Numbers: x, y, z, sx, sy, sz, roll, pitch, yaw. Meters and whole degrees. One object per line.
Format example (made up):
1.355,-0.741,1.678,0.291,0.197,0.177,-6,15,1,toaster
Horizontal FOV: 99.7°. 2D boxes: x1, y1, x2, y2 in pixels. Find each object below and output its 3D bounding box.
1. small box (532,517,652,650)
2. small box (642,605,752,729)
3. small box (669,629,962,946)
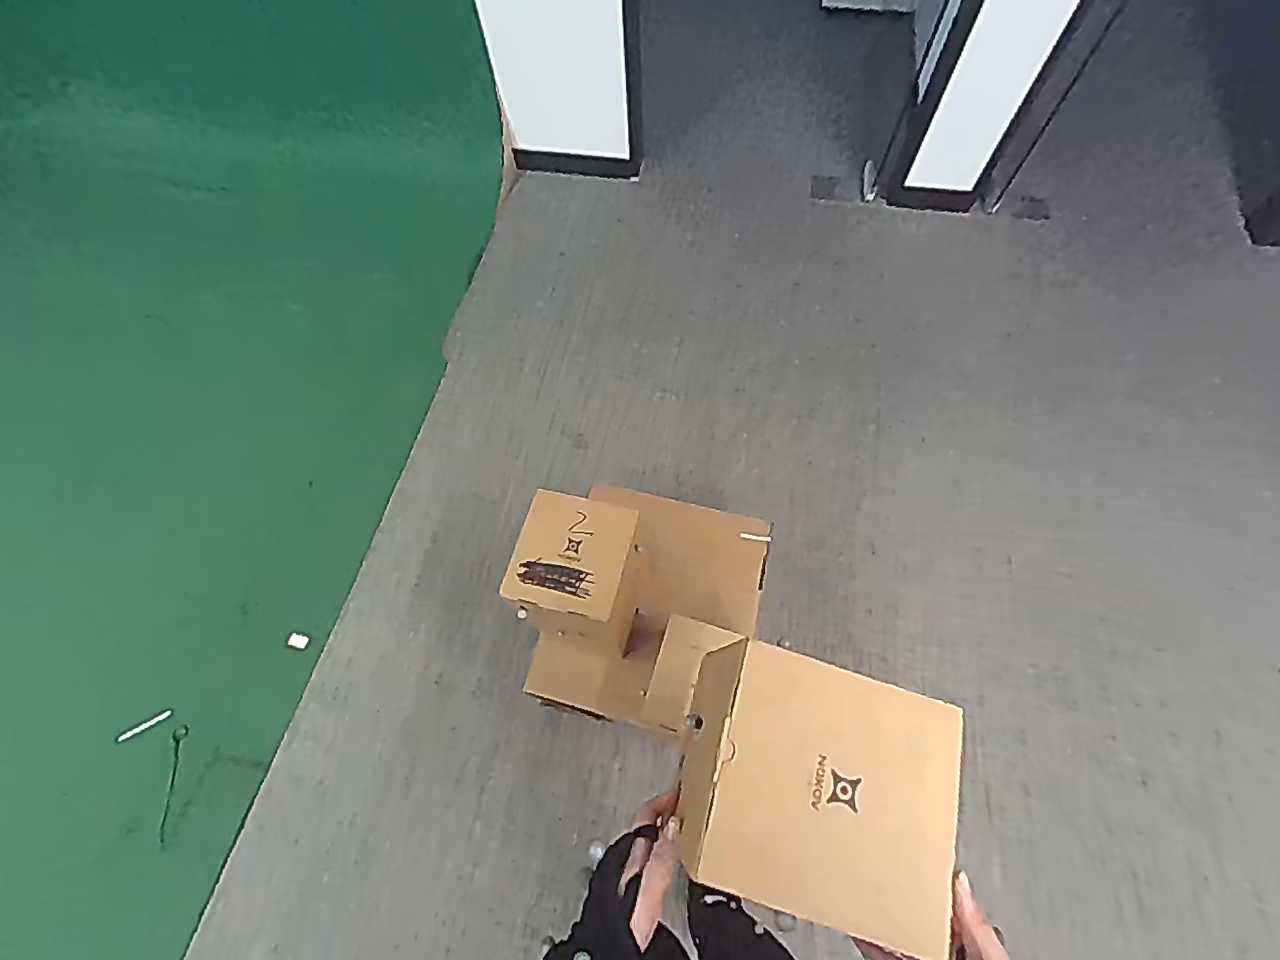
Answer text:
-0.080,0.198,1.006,0.168,0.176,0.179,15,65,10,small box
0.109,0.339,0.931,0.168,0.176,0.179,17,65,8,small box
0.136,0.241,0.463,0.179,0.176,0.168,17,68,3,small box
